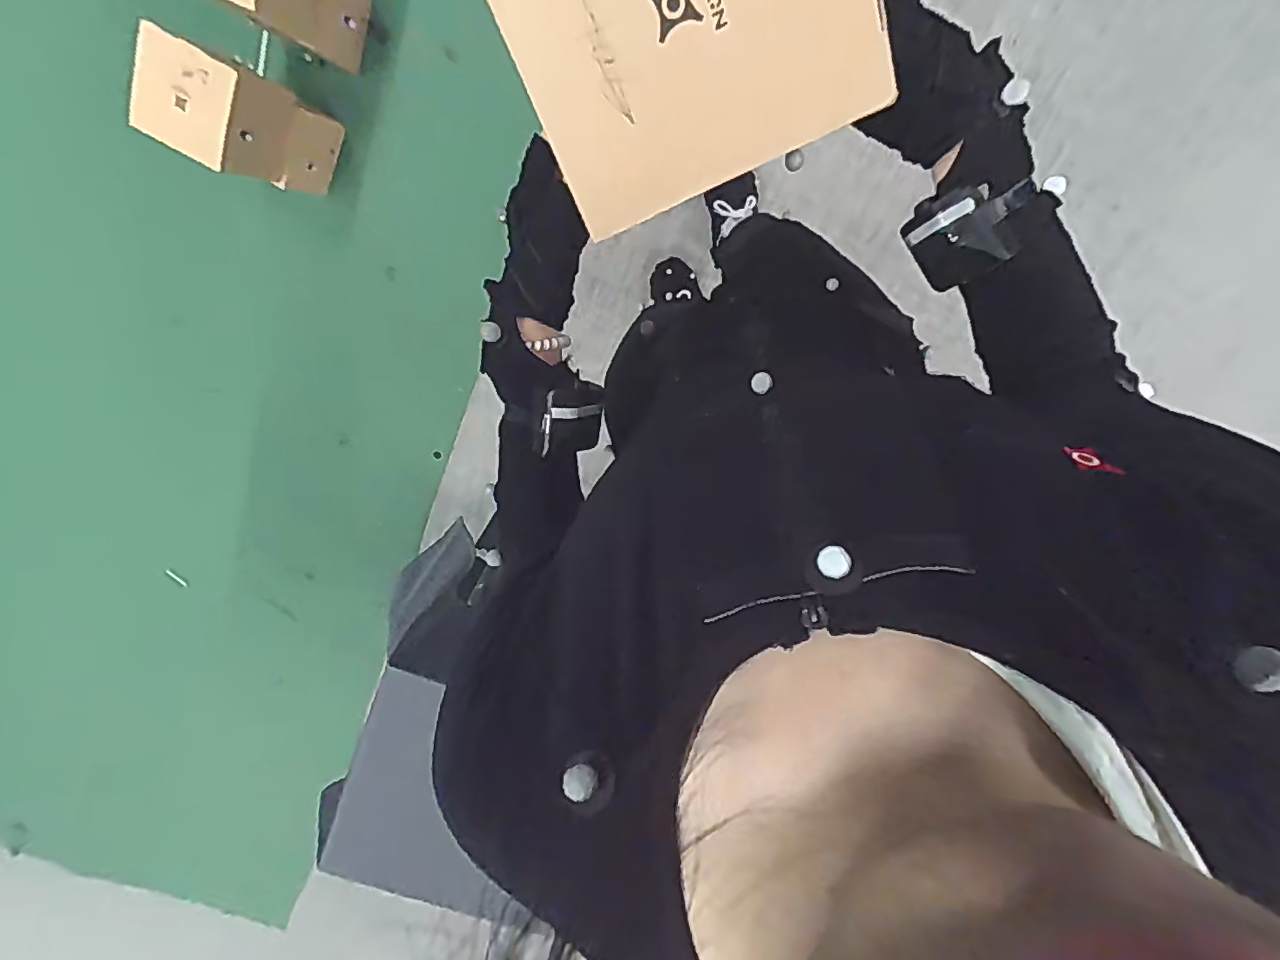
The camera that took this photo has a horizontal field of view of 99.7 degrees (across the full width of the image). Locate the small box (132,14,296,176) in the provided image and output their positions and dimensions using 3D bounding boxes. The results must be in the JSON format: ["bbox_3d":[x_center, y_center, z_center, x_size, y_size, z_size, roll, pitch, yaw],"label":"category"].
[{"bbox_3d":[-0.792,-0.707,1.020,0.168,0.176,0.179,27,111,-9],"label":"small box"}]

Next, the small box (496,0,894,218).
[{"bbox_3d":[0.022,-0.281,0.323,0.179,0.176,0.168,-18,117,14],"label":"small box"}]

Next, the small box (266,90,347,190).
[{"bbox_3d":[-0.780,-0.757,1.177,0.179,0.176,0.168,28,111,-9],"label":"small box"}]
